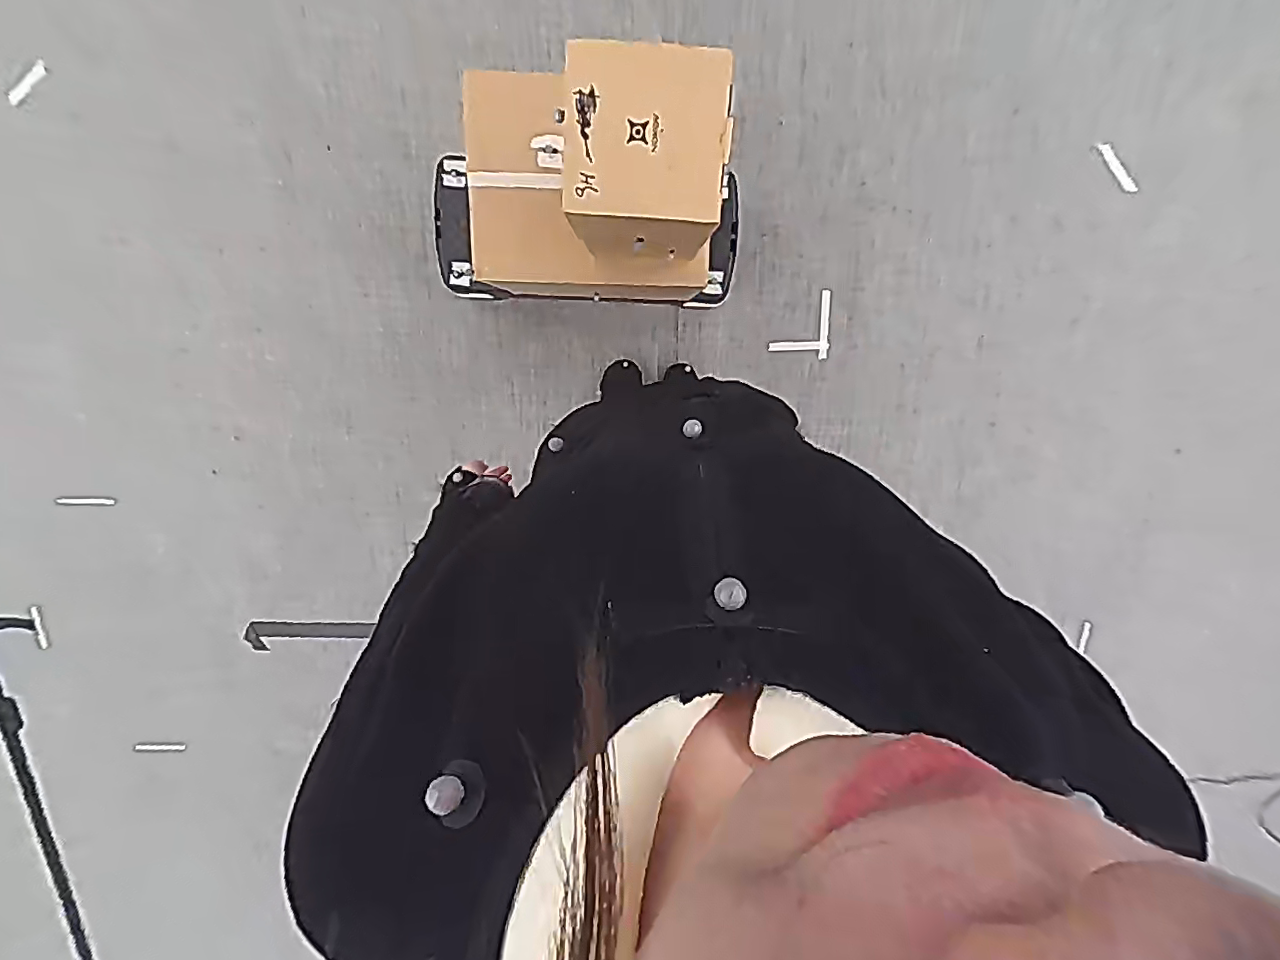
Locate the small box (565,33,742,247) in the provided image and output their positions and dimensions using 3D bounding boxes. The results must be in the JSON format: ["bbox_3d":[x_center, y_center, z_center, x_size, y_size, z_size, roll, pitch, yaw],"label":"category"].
[{"bbox_3d":[0.009,-0.381,0.641,0.179,0.176,0.168,3,103,-3],"label":"small box"}]

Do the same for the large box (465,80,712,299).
[{"bbox_3d":[-0.077,-0.514,1.027,0.408,0.320,0.320,1,103,0],"label":"large box"}]

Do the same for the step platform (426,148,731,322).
[{"bbox_3d":[-0.134,-0.556,1.261,0.684,0.204,0.286,7,104,-2],"label":"step platform"}]

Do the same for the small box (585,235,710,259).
[{"bbox_3d":[0.011,-0.427,0.798,0.179,0.176,0.168,1,104,0],"label":"small box"}]
